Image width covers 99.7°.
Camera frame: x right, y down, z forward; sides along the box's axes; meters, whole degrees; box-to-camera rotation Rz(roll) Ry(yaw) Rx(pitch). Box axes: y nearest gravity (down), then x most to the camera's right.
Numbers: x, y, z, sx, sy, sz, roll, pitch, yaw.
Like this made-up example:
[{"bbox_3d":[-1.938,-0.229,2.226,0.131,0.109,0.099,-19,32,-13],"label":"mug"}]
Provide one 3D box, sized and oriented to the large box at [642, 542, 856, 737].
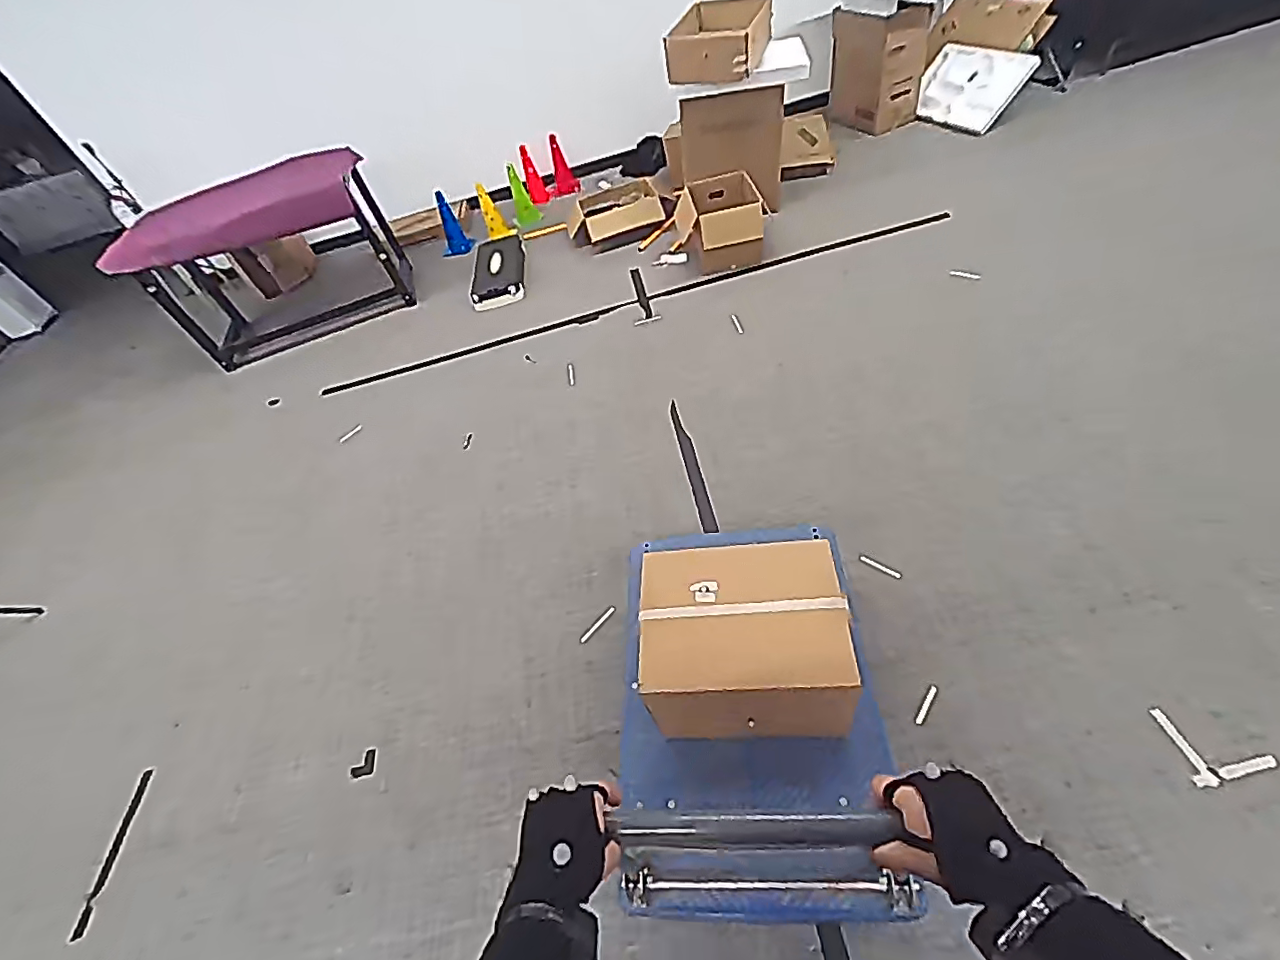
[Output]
[{"bbox_3d":[0.233,0.369,1.215,0.408,0.320,0.320,-7,48,10],"label":"large box"}]
